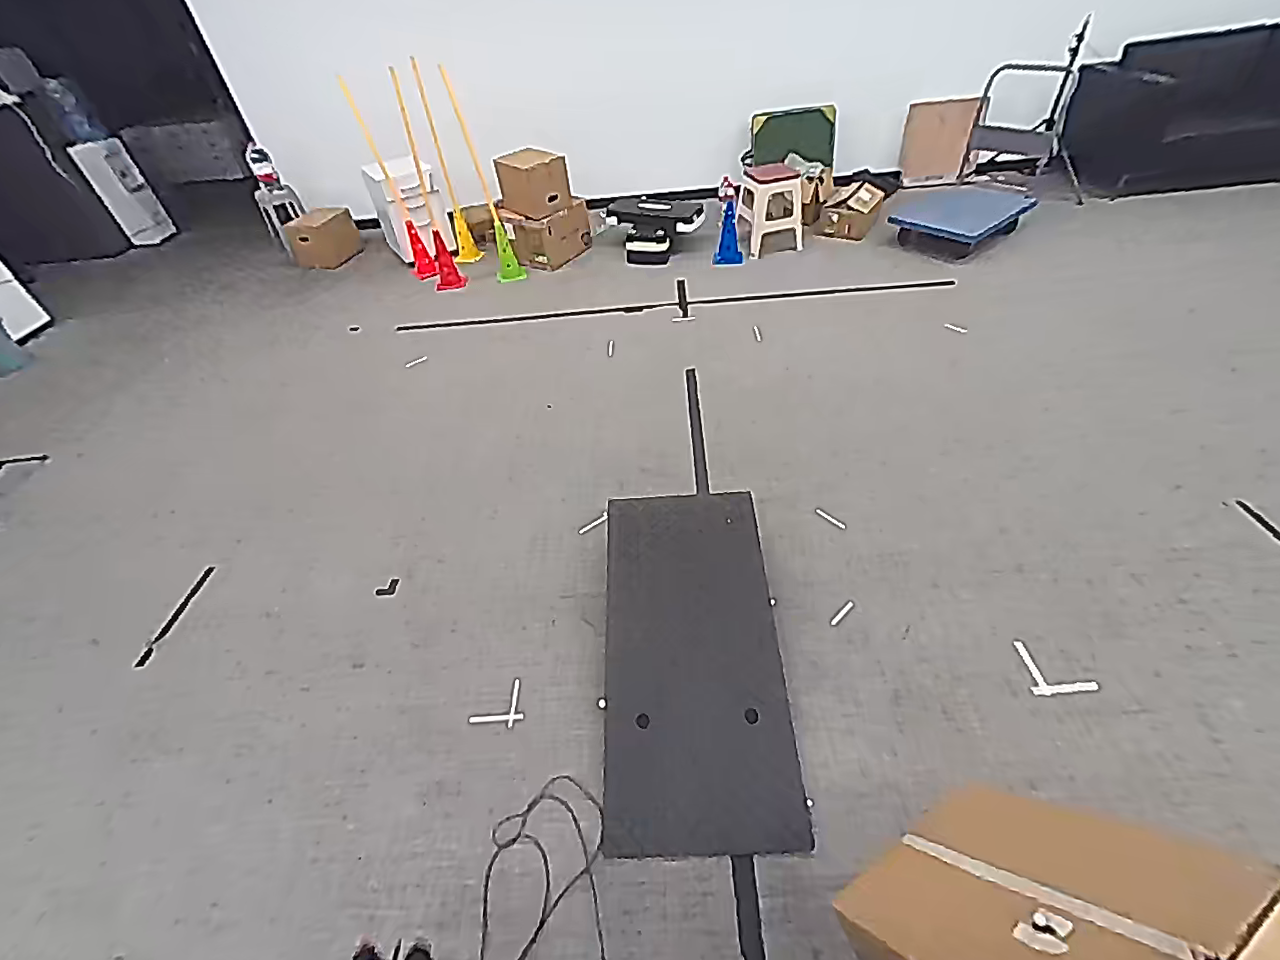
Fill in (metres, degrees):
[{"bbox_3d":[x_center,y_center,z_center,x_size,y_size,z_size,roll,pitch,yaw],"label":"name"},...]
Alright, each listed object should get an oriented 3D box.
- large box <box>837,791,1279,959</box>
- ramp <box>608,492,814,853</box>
[{"bbox_3d":[0.526,0.632,0.627,0.320,0.408,0.320,-22,79,-21],"label":"large box"},{"bbox_3d":[0.152,0.463,1.561,0.509,0.206,0.991,-5,44,1],"label":"ramp"}]
